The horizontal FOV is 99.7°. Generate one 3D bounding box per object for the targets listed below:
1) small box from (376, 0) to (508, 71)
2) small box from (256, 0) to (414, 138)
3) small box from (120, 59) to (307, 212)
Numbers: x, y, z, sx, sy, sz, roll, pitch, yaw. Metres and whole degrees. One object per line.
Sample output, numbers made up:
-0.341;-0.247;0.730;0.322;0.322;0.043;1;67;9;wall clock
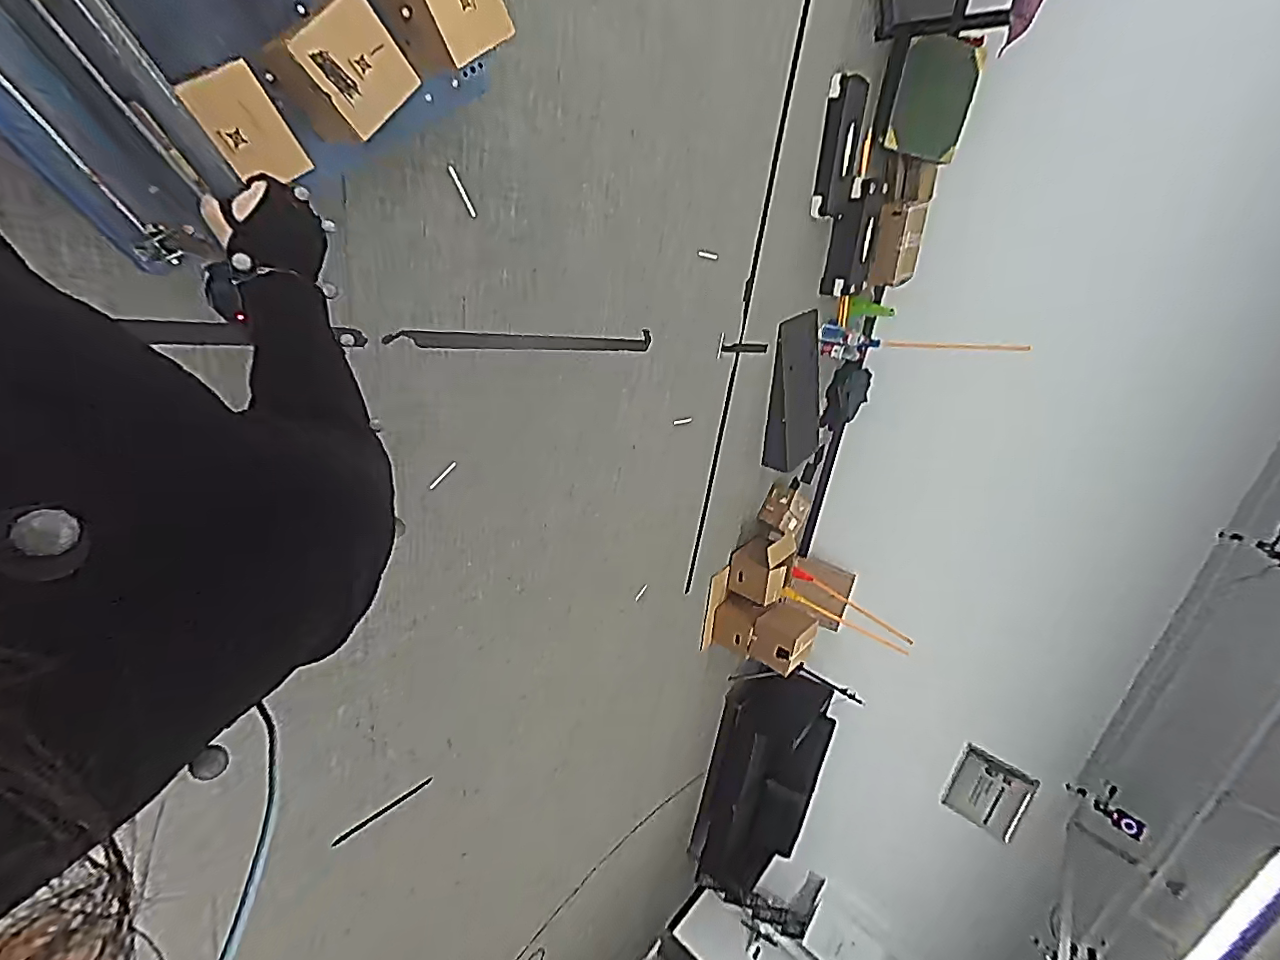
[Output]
-0.414;-0.969;1.102;0.179;0.176;0.168;-51;143;-21;small box
-0.572;-0.768;1.008;0.179;0.176;0.168;-58;145;-14;small box
-0.724;-0.580;0.918;0.179;0.176;0.168;-49;143;-24;small box
